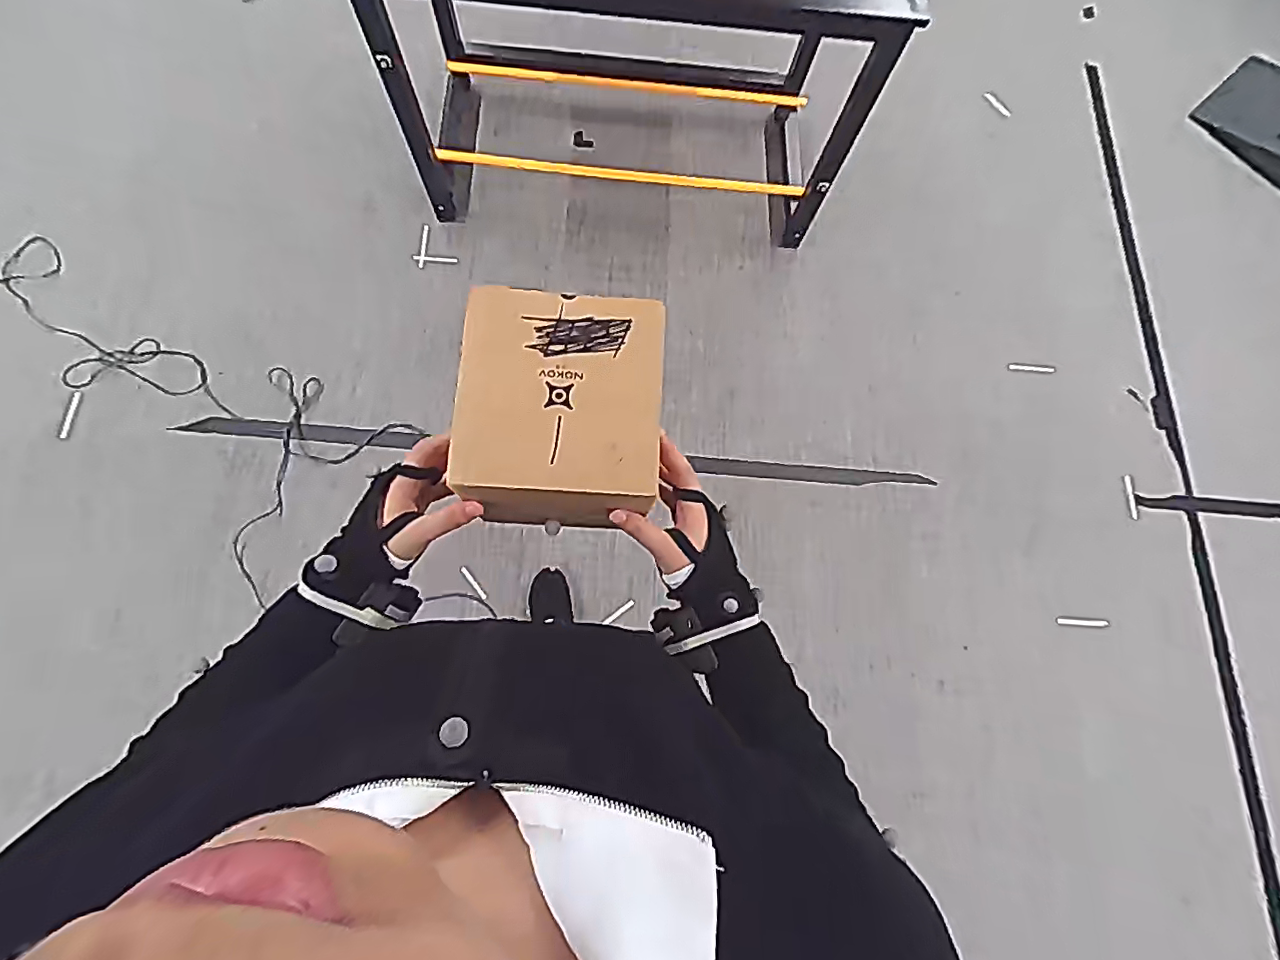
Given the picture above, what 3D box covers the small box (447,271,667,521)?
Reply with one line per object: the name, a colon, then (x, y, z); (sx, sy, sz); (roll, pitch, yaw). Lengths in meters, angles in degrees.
small box: (-0.070, -0.065, 0.513); (0.168, 0.176, 0.179); (4, 76, -5)
